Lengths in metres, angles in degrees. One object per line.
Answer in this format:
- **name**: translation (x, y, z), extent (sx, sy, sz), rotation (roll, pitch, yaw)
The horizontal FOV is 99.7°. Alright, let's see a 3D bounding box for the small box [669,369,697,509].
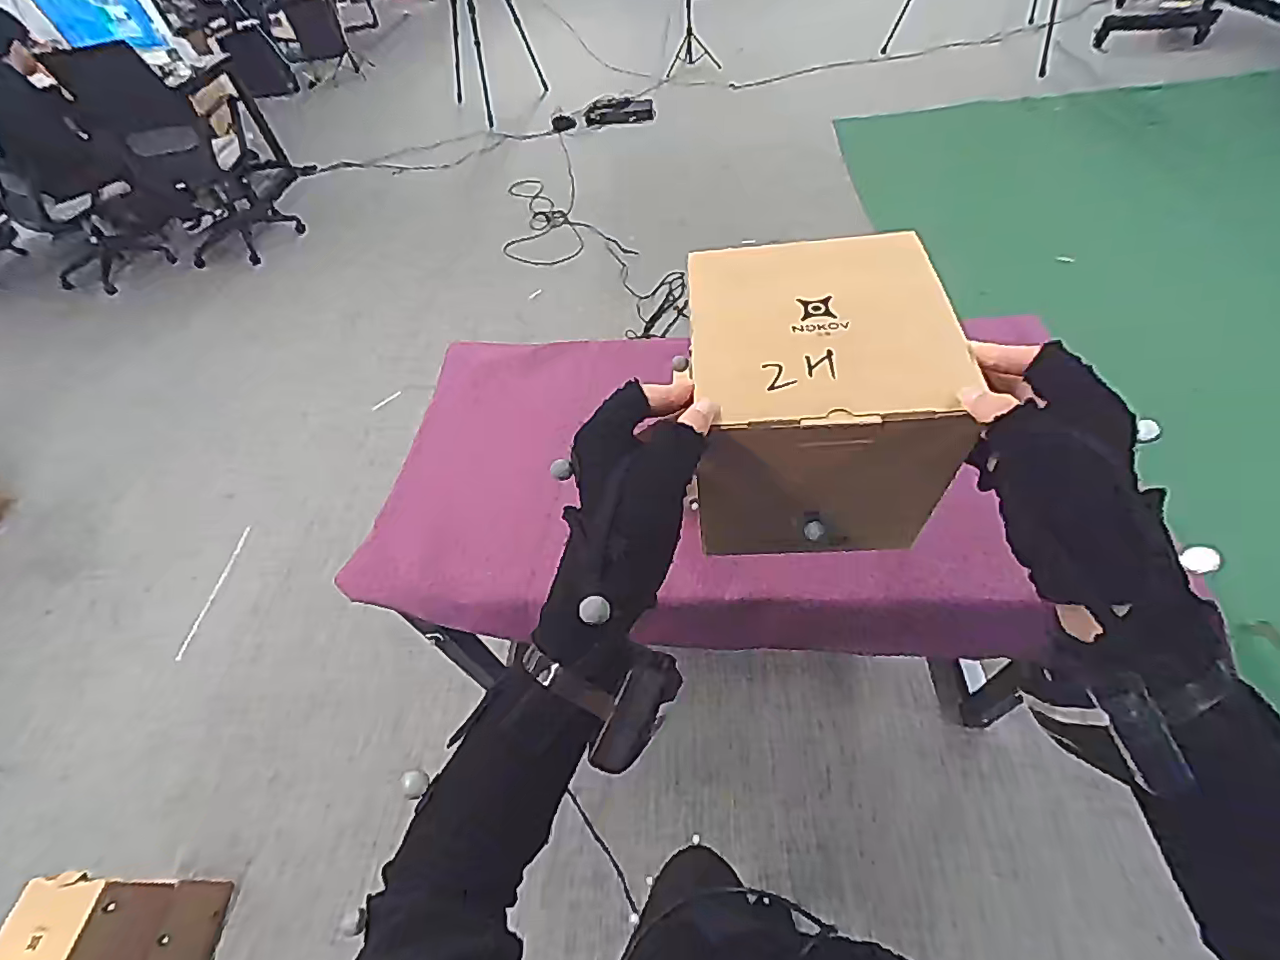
- **small box**: translation (0.139, -0.061, 0.867), extent (0.168, 0.176, 0.179), rotation (0, 51, 8)

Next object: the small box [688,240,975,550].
- **small box**: translation (0.123, -0.060, 0.429), extent (0.168, 0.176, 0.179), rotation (-3, 55, 7)
